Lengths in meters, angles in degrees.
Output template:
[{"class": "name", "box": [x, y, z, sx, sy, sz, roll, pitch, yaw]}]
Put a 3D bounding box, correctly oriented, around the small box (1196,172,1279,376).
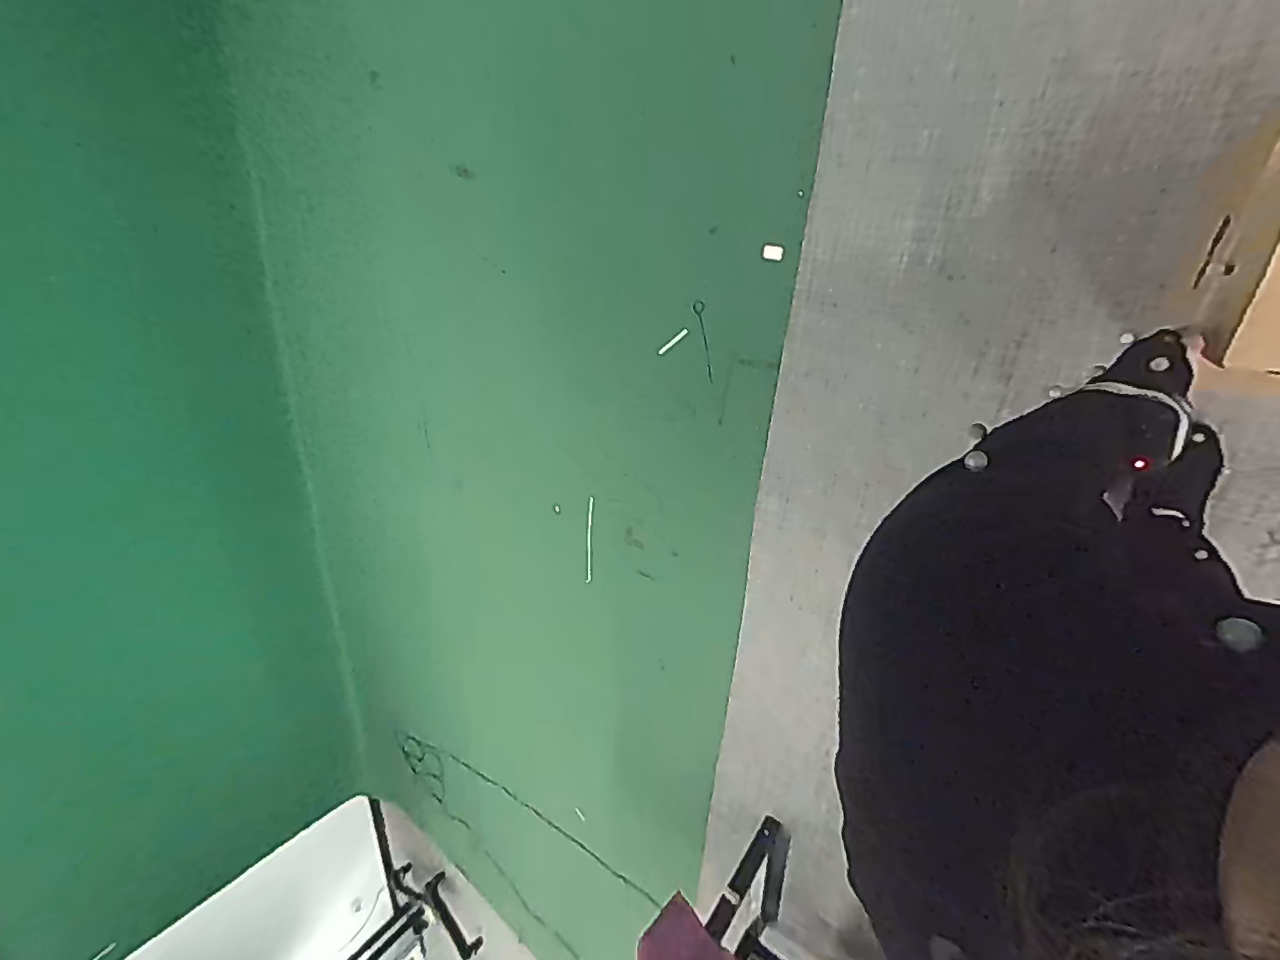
[{"class": "small box", "box": [0.664, -0.192, 0.499, 0.168, 0.176, 0.179, 18, 119, 32]}]
